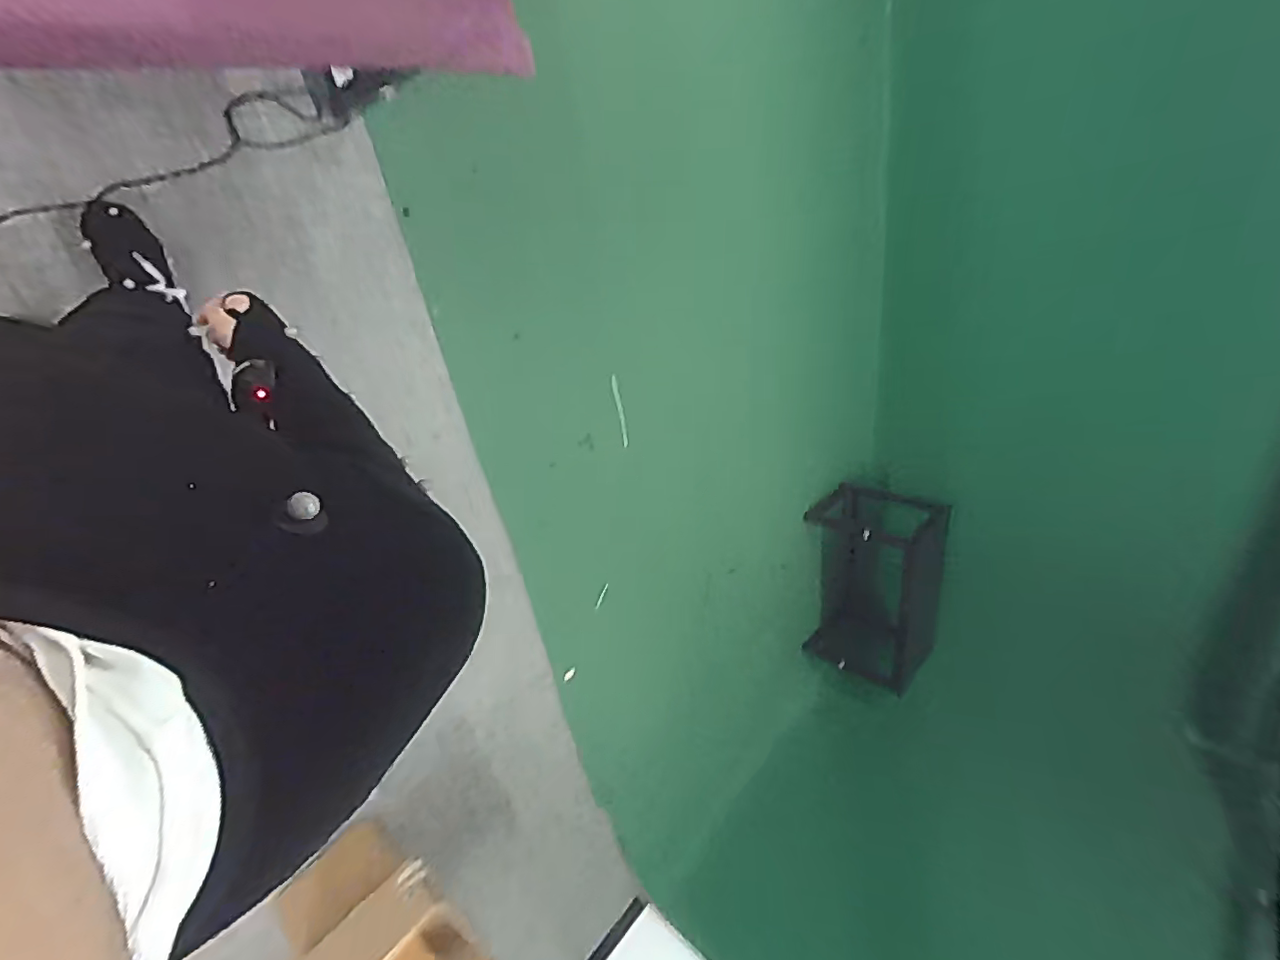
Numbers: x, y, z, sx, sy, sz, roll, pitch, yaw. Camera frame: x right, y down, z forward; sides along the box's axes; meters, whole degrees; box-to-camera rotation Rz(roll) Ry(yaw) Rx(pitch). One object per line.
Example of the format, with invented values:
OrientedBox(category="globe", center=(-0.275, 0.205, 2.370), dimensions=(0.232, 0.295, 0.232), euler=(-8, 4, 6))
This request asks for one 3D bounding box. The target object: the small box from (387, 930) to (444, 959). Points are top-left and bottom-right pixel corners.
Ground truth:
OrientedBox(category="small box", center=(-0.639, 1.439, 1.527), dimensions=(0.179, 0.176, 0.168), euler=(-36, 128, -33))
